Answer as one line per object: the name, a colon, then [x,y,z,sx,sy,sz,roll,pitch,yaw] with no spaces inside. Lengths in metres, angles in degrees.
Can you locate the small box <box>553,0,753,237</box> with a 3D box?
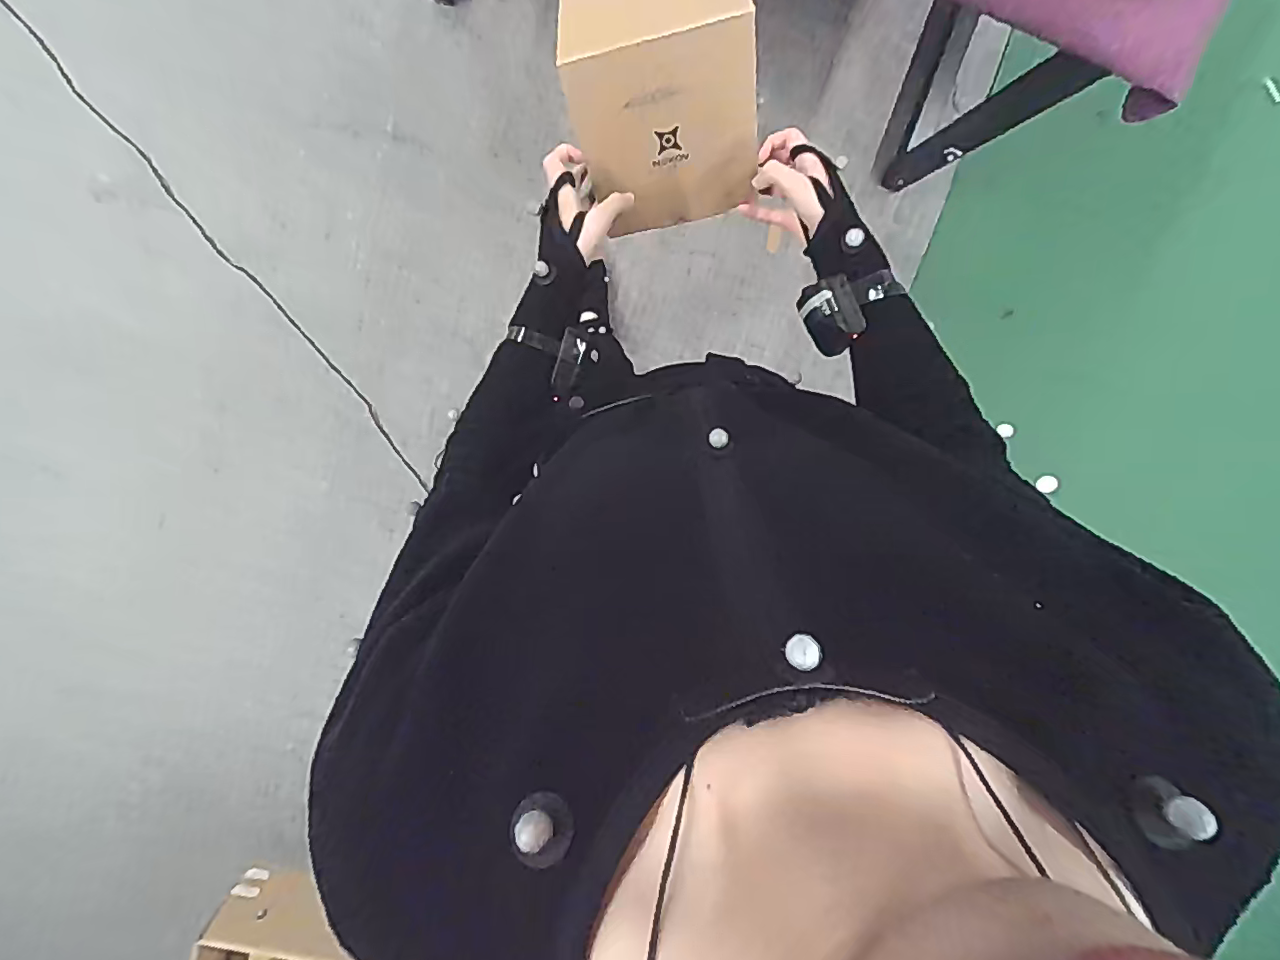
small box: [0.021,-0.386,0.544,0.168,0.179,0.176,-8,61,10]
